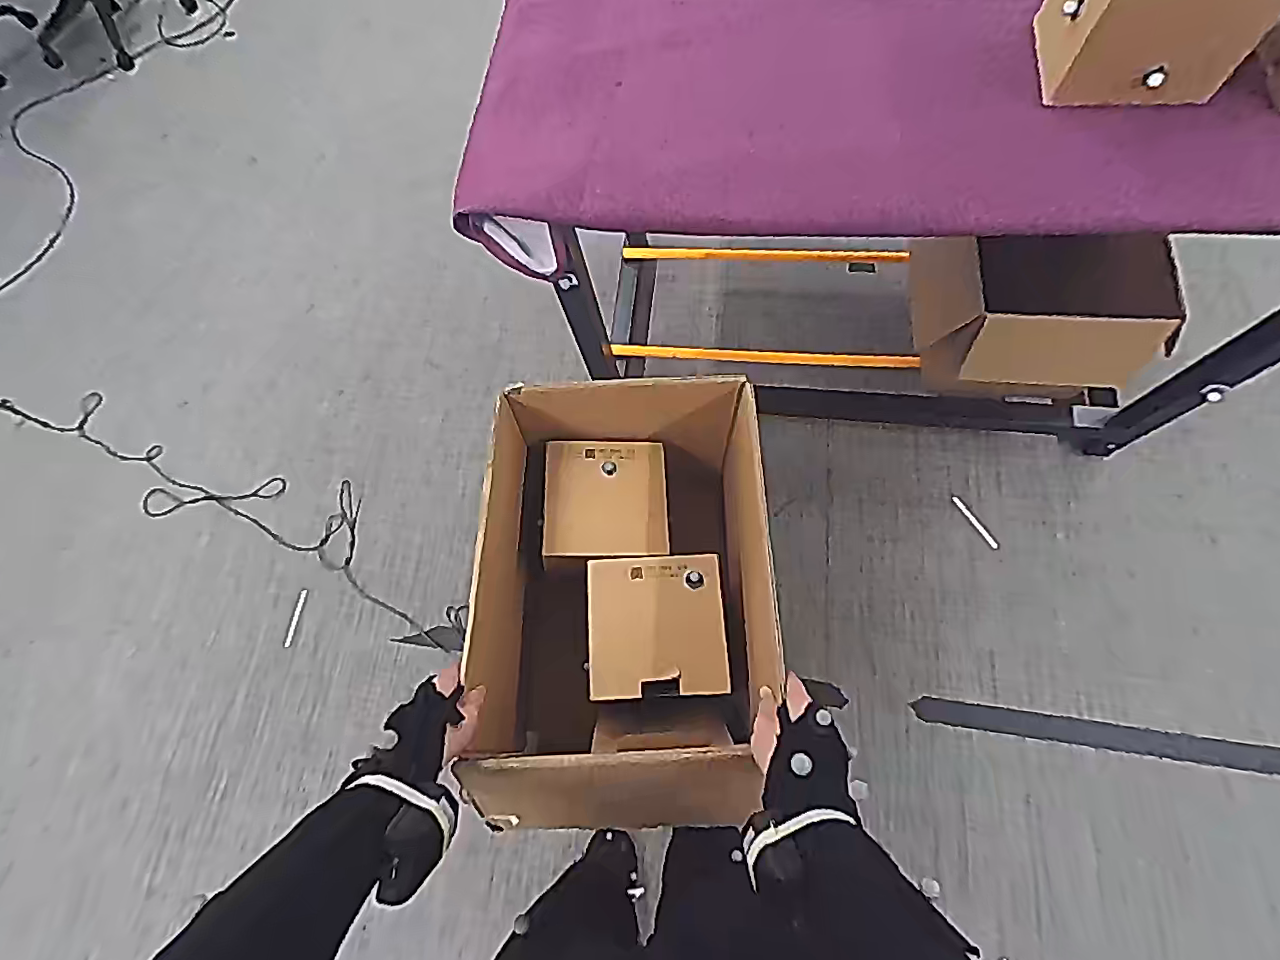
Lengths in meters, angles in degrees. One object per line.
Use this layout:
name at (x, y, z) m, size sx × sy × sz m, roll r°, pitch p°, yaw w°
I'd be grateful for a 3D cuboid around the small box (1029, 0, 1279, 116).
small box at (0.593, -0.556, 0.619) m, size 0.179 × 0.176 × 0.168 m, roll 6°, pitch 70°, yaw 9°
